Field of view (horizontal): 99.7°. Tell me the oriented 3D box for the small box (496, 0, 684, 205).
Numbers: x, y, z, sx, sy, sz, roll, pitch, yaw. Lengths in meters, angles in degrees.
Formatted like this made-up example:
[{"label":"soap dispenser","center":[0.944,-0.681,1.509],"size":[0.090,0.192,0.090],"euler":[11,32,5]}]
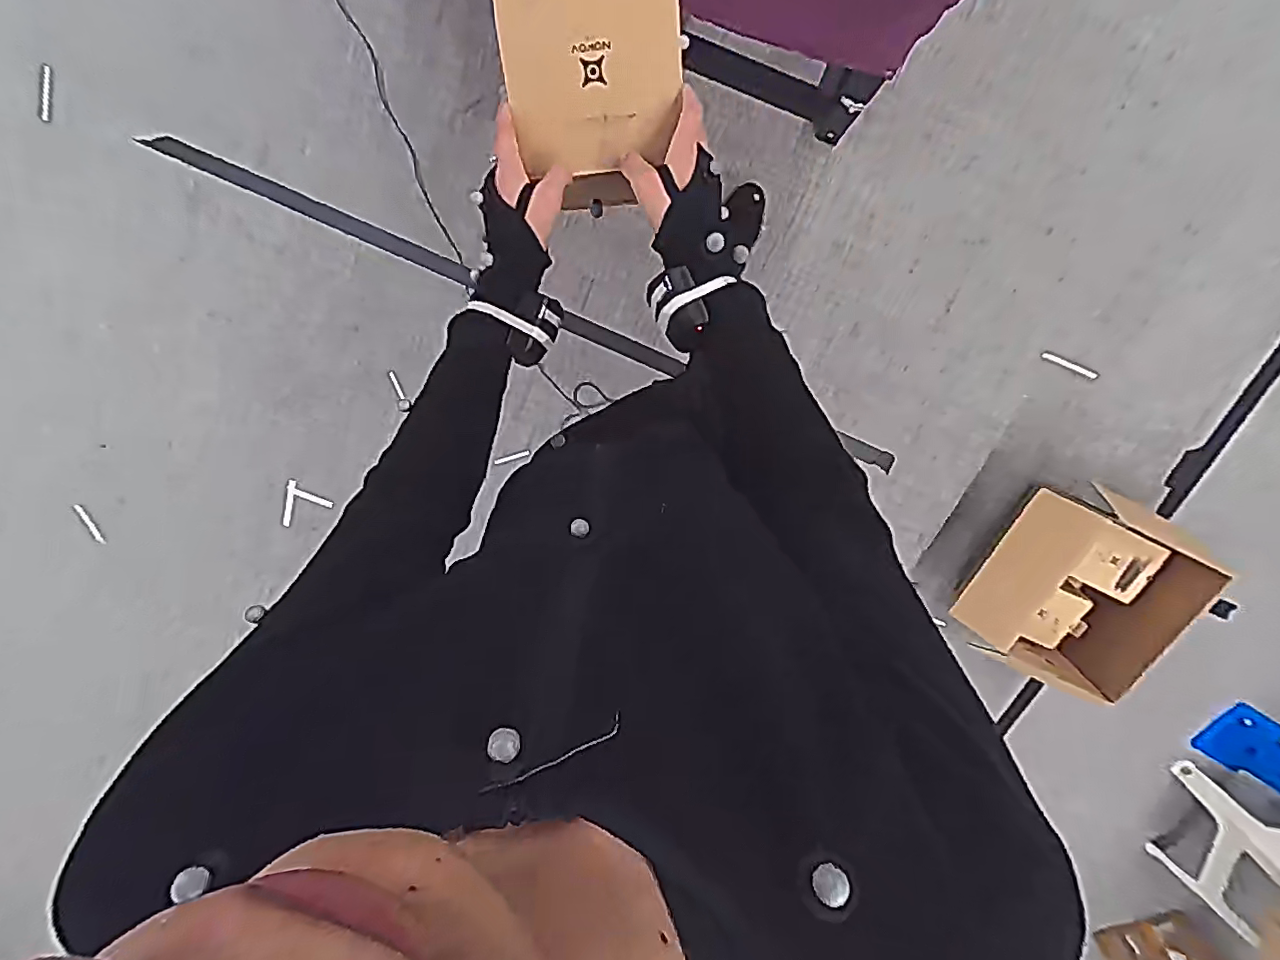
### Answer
[{"label":"small box","center":[-0.045,-0.410,0.571],"size":[0.168,0.176,0.179],"euler":[-4,106,2]}]
